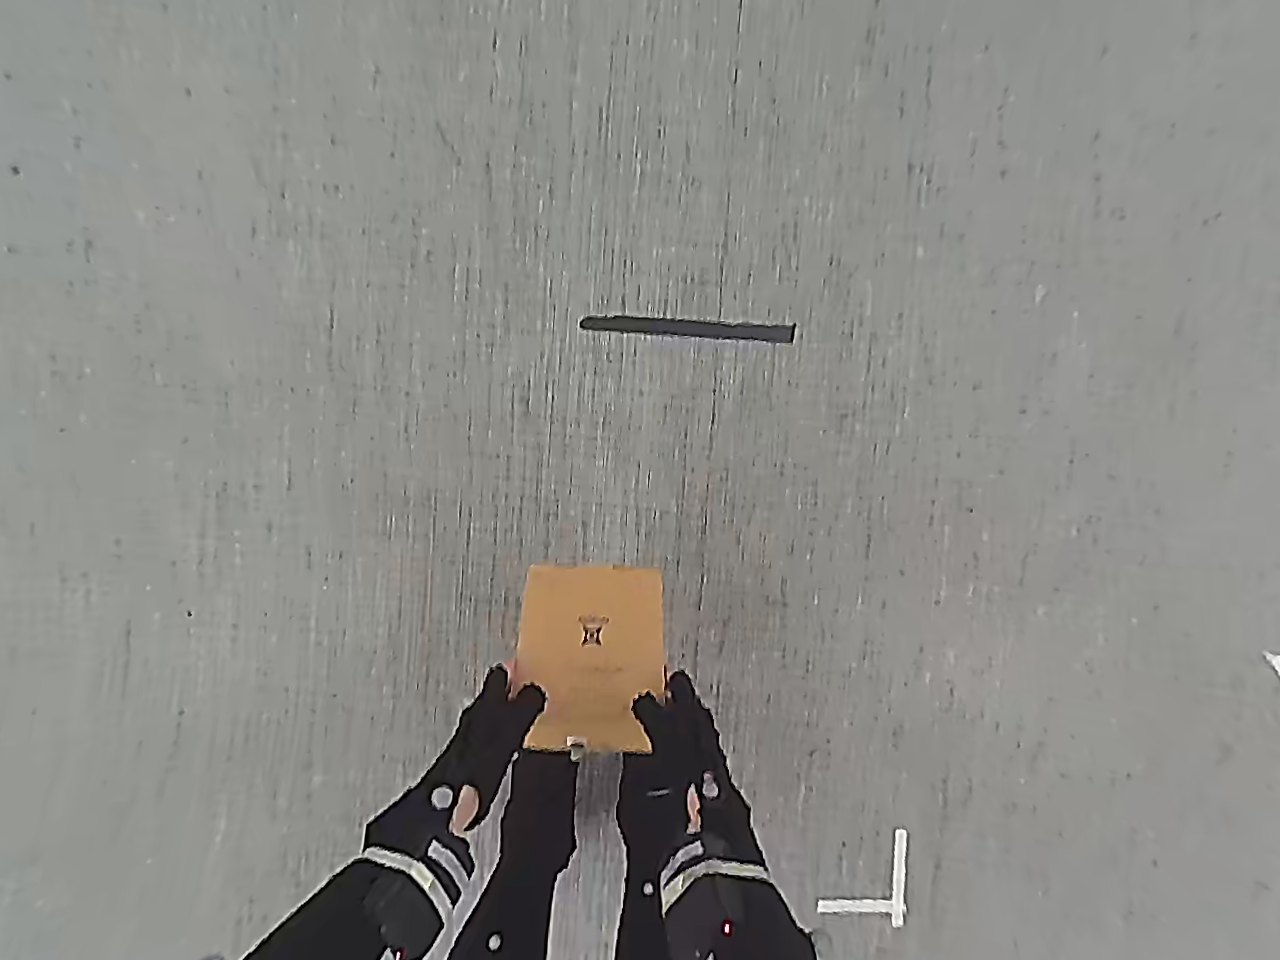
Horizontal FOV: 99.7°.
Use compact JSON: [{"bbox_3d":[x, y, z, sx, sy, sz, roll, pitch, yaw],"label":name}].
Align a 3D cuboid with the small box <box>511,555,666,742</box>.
[{"bbox_3d":[-0.059,0.212,0.675,0.168,0.176,0.179,1,52,-3],"label":"small box"}]
